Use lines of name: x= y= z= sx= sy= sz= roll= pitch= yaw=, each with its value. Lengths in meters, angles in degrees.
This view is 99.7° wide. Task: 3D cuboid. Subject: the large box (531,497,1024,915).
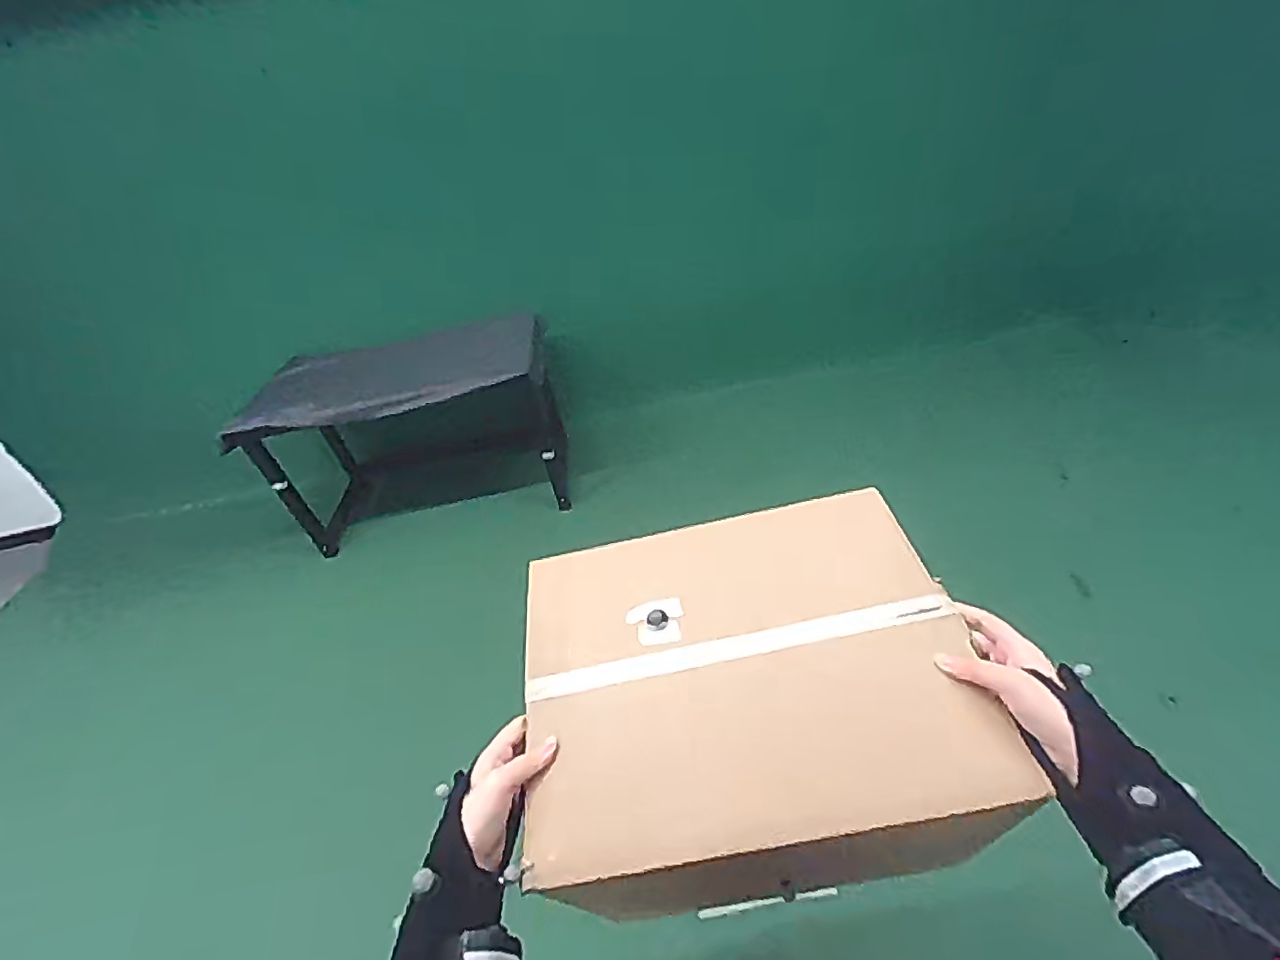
large box: x=0.118 y=0.272 z=0.632 sx=0.408 sy=0.320 sz=0.320 roll=-14 pitch=45 yaw=5
